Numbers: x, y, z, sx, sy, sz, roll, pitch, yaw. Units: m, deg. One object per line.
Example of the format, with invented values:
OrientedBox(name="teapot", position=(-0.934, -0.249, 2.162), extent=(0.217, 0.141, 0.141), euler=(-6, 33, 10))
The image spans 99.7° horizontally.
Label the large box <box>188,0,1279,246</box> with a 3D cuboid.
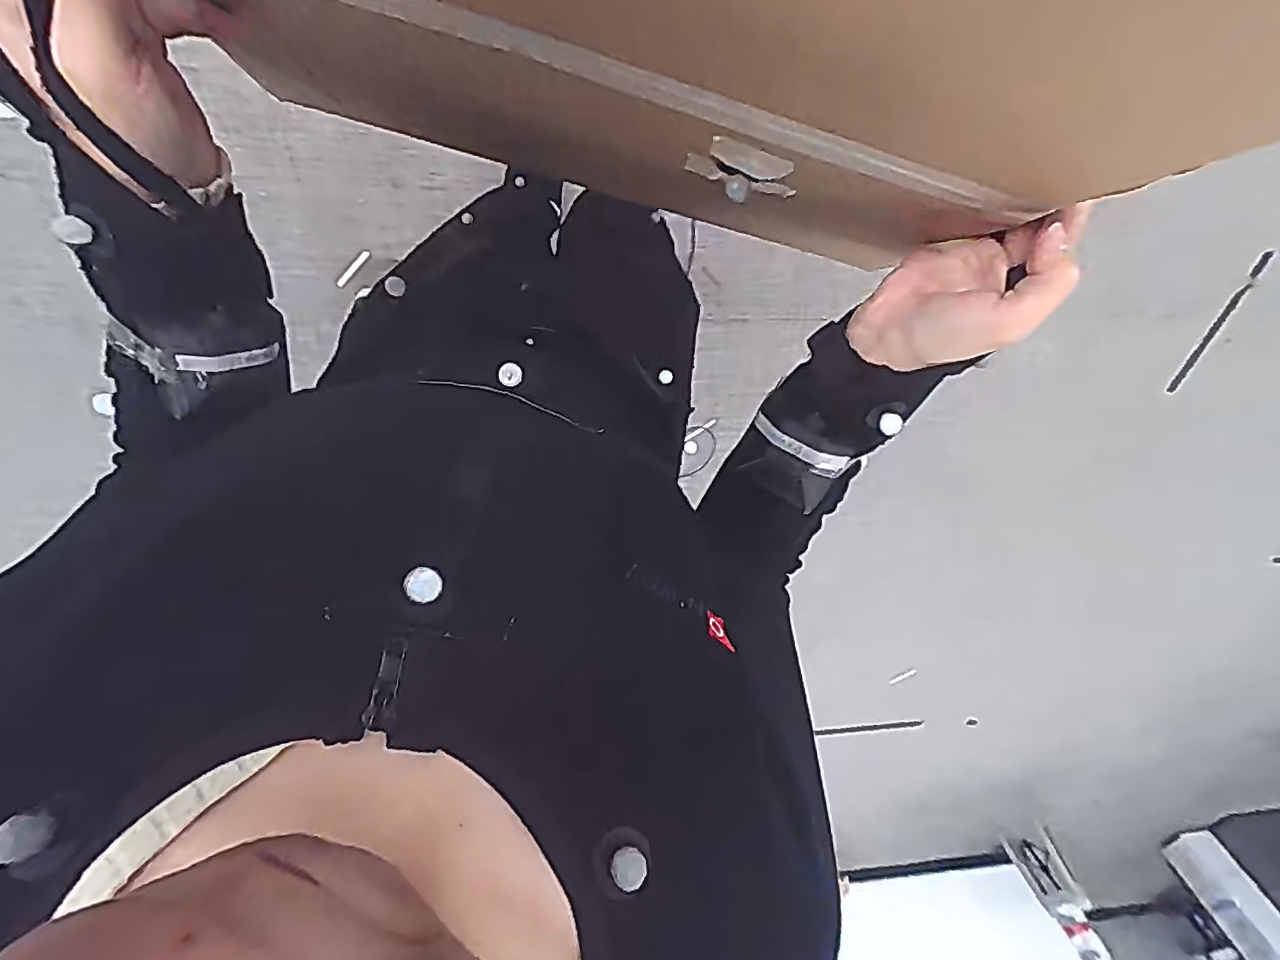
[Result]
OrientedBox(name="large box", position=(0.025, -0.318, 0.190), extent=(0.408, 0.320, 0.320), euler=(10, 102, -9))
